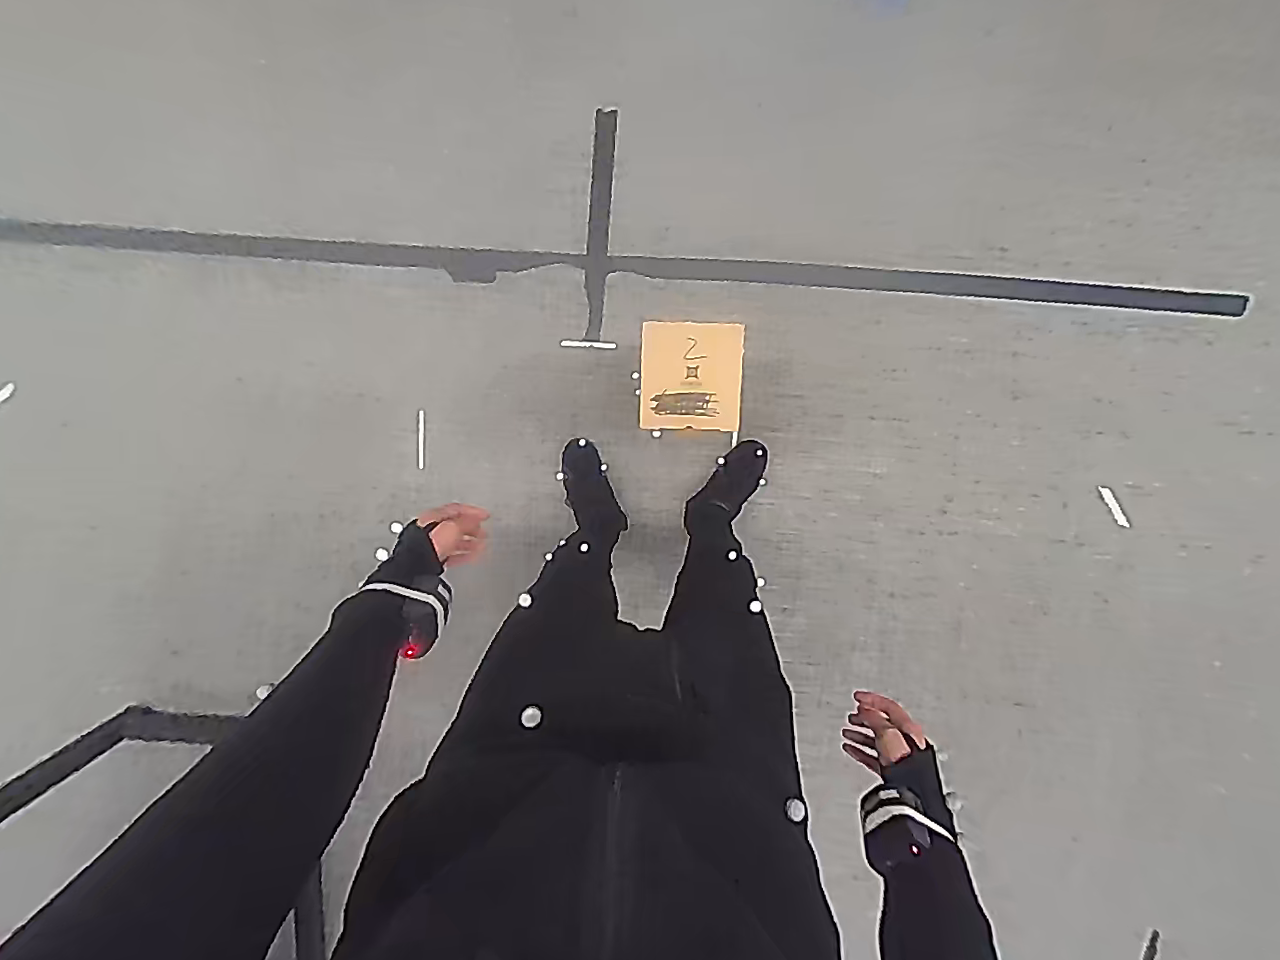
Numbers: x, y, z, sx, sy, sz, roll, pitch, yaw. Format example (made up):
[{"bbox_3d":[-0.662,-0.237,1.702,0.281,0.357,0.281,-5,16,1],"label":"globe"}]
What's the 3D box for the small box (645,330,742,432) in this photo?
[{"bbox_3d":[0.103,-0.204,1.118,0.168,0.176,0.179,8,101,-1],"label":"small box"}]
